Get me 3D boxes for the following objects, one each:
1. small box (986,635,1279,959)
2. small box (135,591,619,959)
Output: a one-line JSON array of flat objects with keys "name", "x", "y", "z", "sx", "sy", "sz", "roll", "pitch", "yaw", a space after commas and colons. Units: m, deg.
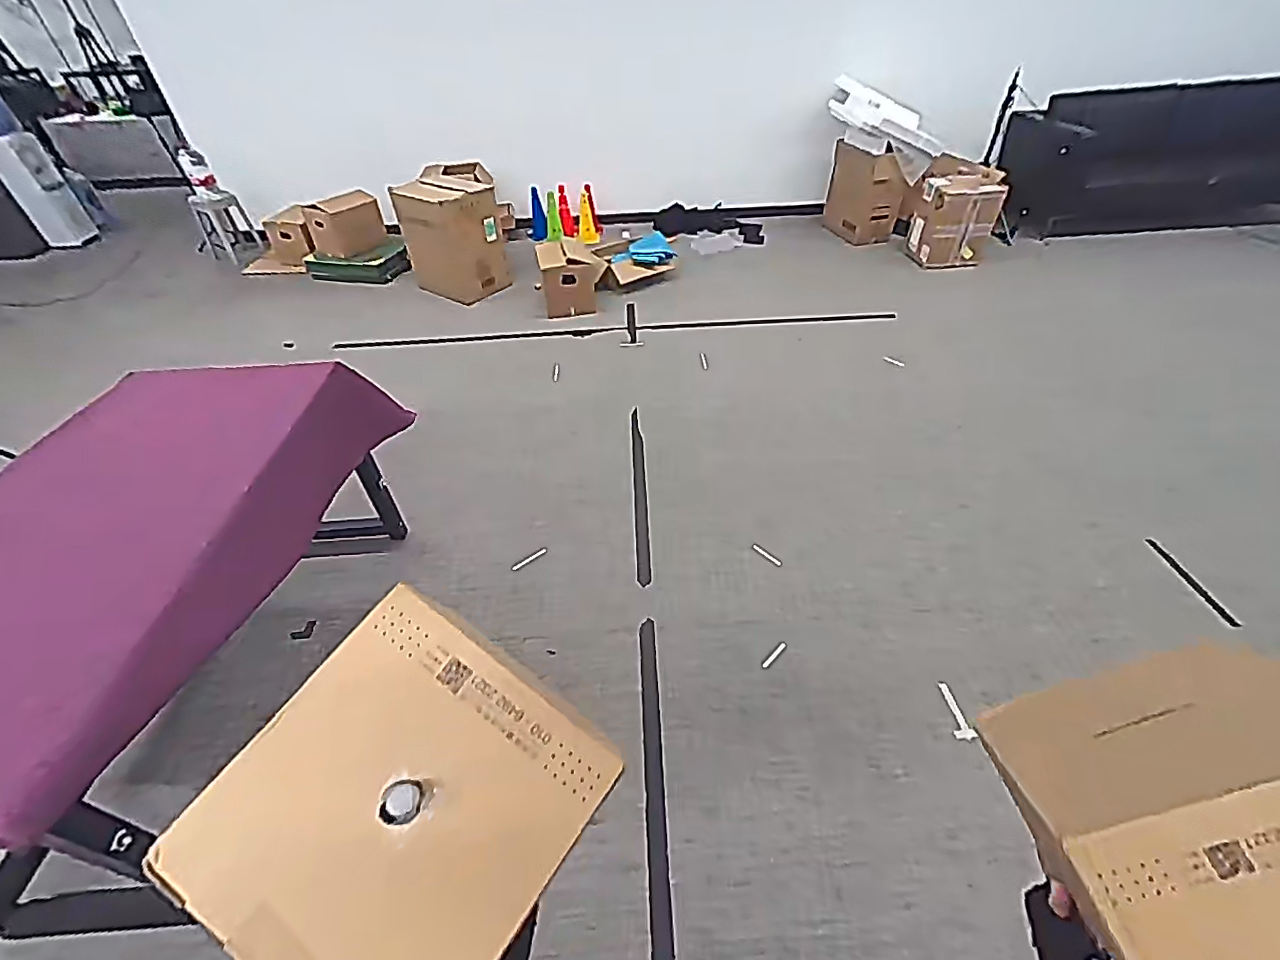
[{"name": "small box", "x": 0.335, "y": 0.209, "z": 0.302, "sx": 0.168, "sy": 0.179, "sz": 0.176, "roll": -28, "pitch": 80, "yaw": 15}, {"name": "small box", "x": -0.128, "y": 0.190, "z": 0.340, "sx": 0.168, "sy": 0.179, "sz": 0.176, "roll": 36, "pitch": 68, "yaw": 8}]
